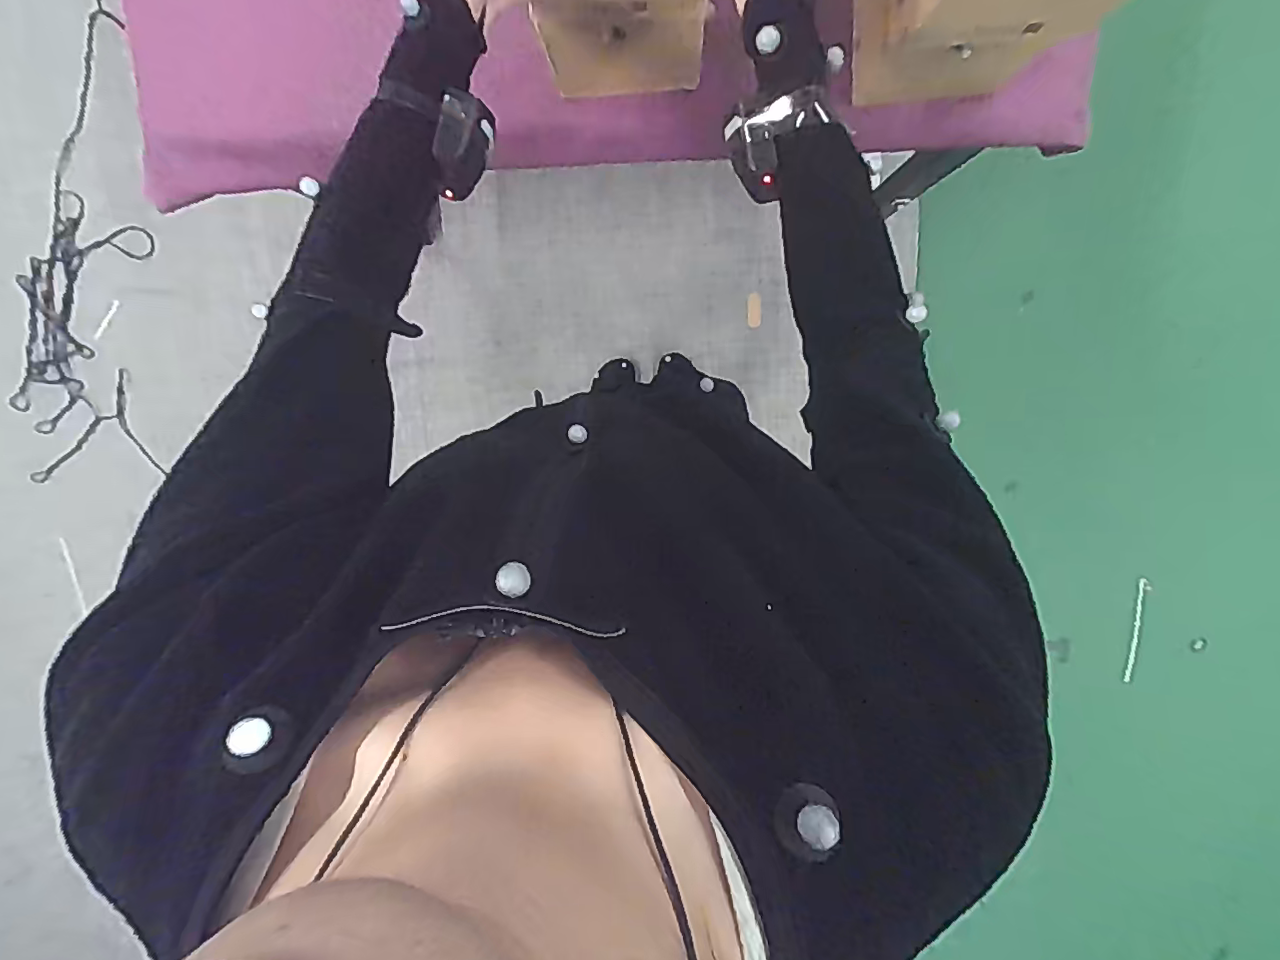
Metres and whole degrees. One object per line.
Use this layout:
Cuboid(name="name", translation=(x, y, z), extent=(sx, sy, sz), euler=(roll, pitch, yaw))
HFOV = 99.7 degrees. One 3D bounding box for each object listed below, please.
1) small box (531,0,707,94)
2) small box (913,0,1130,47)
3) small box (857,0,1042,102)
Cuboid(name="small box", translation=(-0.016, -0.554, 0.591), extent=(0.179, 0.176, 0.168), euler=(0, 101, 3))
Cuboid(name="small box", translation=(0.330, -0.480, 0.414), extent=(0.168, 0.176, 0.179), euler=(0, 101, 4))
Cuboid(name="small box", translation=(0.342, -0.531, 0.571), extent=(0.179, 0.176, 0.168), euler=(-3, 102, 4))
